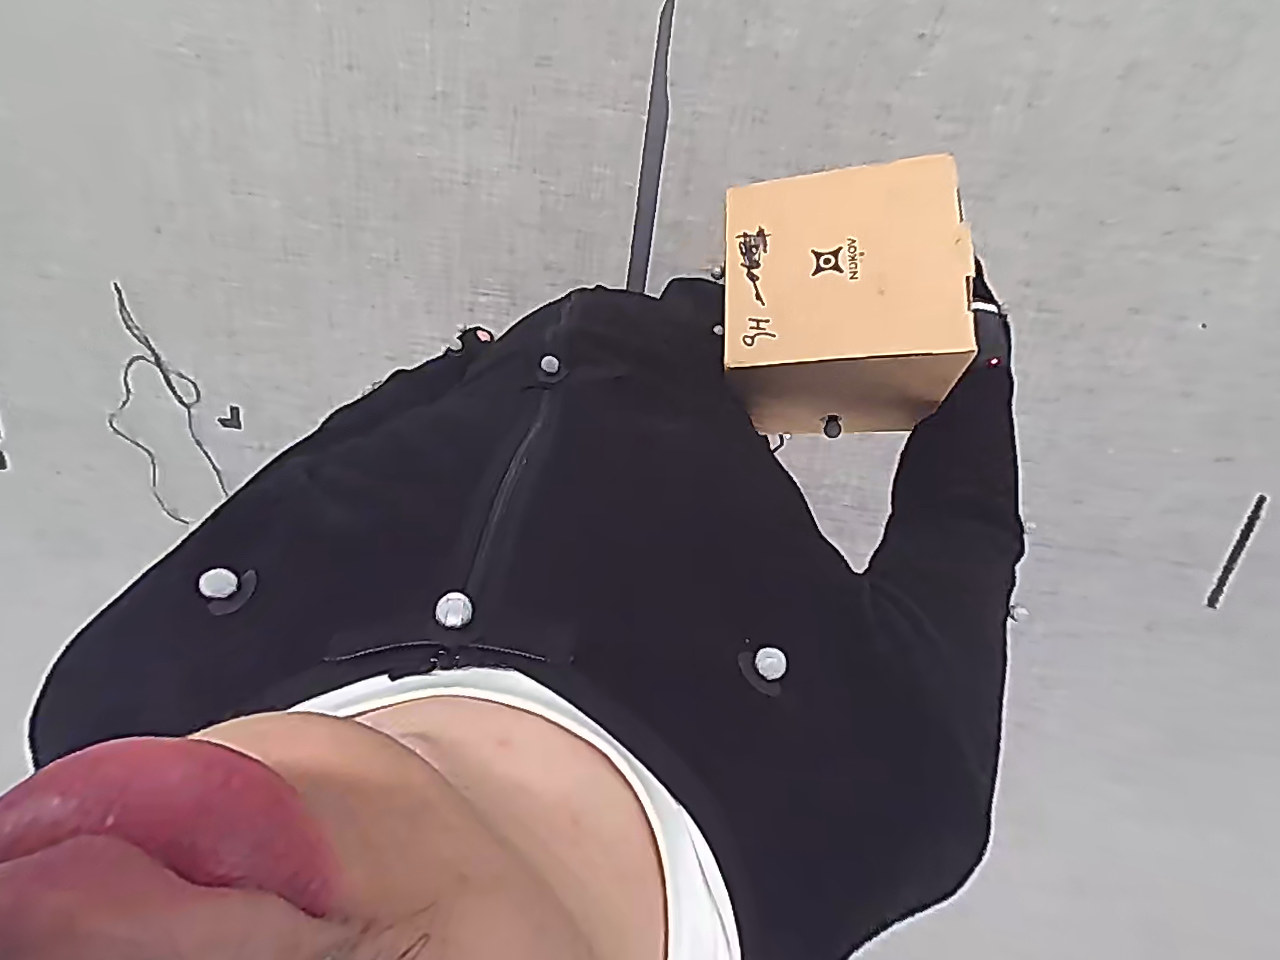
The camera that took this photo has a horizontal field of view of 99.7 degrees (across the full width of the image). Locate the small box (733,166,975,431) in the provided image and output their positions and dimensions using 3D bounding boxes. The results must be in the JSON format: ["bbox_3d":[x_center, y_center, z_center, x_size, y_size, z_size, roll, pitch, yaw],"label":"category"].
[{"bbox_3d":[0.181,-0.150,0.503,0.179,0.176,0.168,-1,75,15],"label":"small box"}]
